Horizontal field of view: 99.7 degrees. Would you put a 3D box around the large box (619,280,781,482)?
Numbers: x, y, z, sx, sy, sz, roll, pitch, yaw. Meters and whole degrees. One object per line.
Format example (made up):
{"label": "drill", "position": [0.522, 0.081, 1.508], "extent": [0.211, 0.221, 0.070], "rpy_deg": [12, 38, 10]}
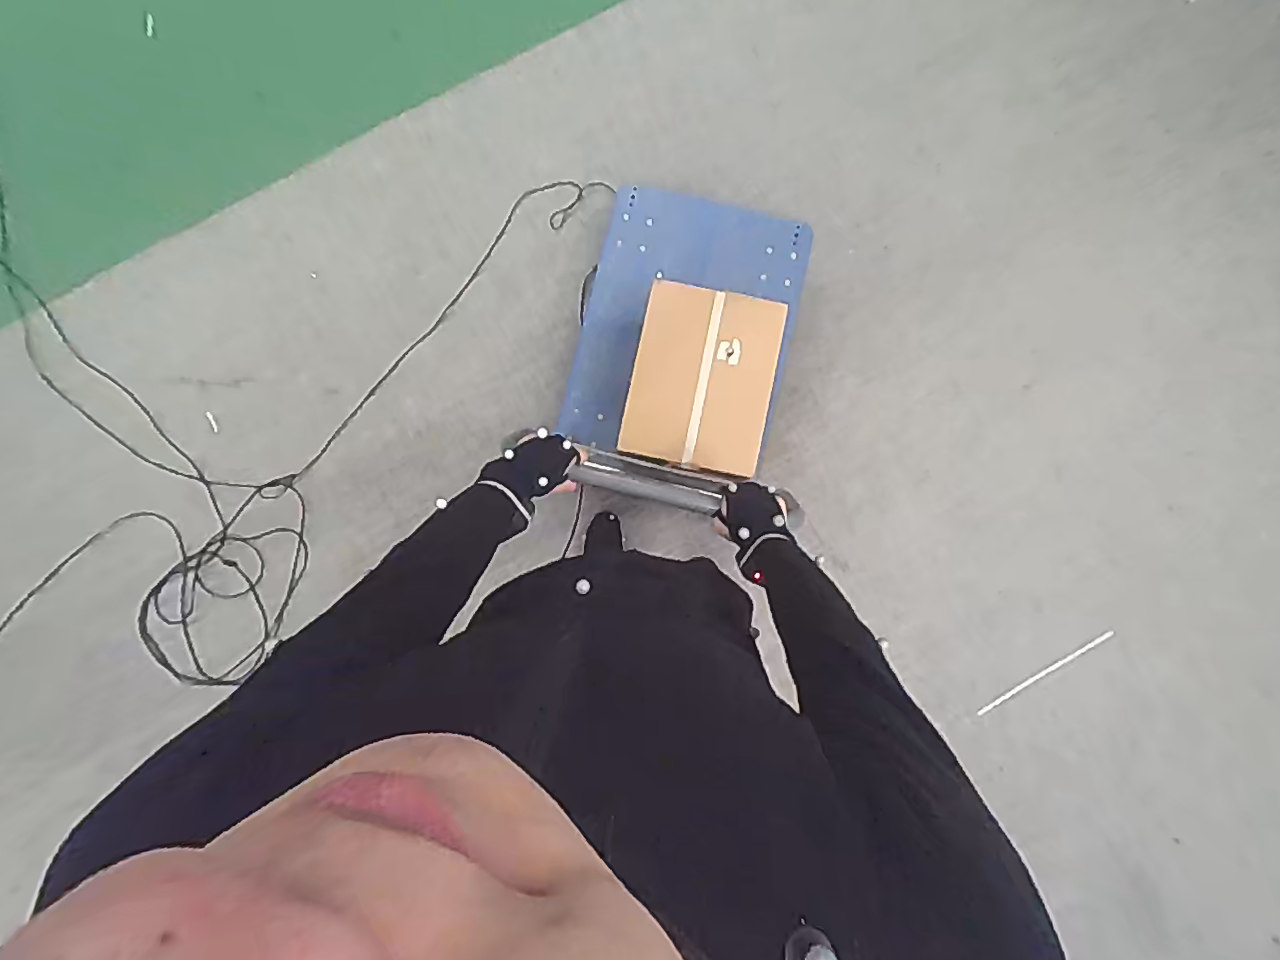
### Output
{"label": "large box", "position": [0.140, -0.226, 1.375], "extent": [0.320, 0.320, 0.408], "rpy_deg": [12, 85, 1]}
